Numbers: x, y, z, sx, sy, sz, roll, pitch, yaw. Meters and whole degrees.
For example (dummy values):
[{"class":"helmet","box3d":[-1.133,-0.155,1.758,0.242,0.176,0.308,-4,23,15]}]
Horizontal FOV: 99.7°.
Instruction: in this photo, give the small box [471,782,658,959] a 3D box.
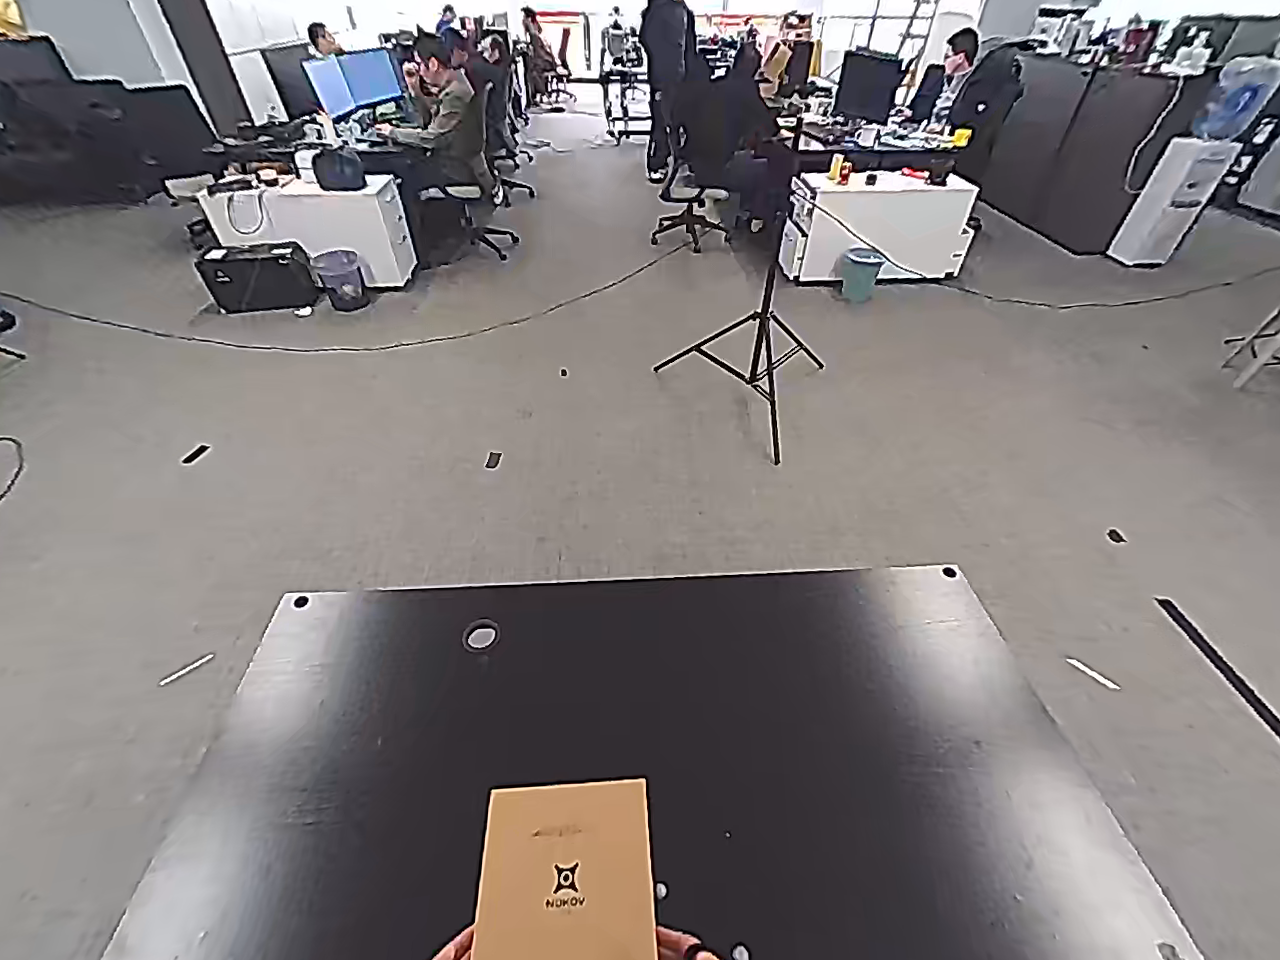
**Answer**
[{"class":"small box","box3d":[-0.069,0.440,0.558,0.168,0.176,0.179,-2,42,-4]}]
